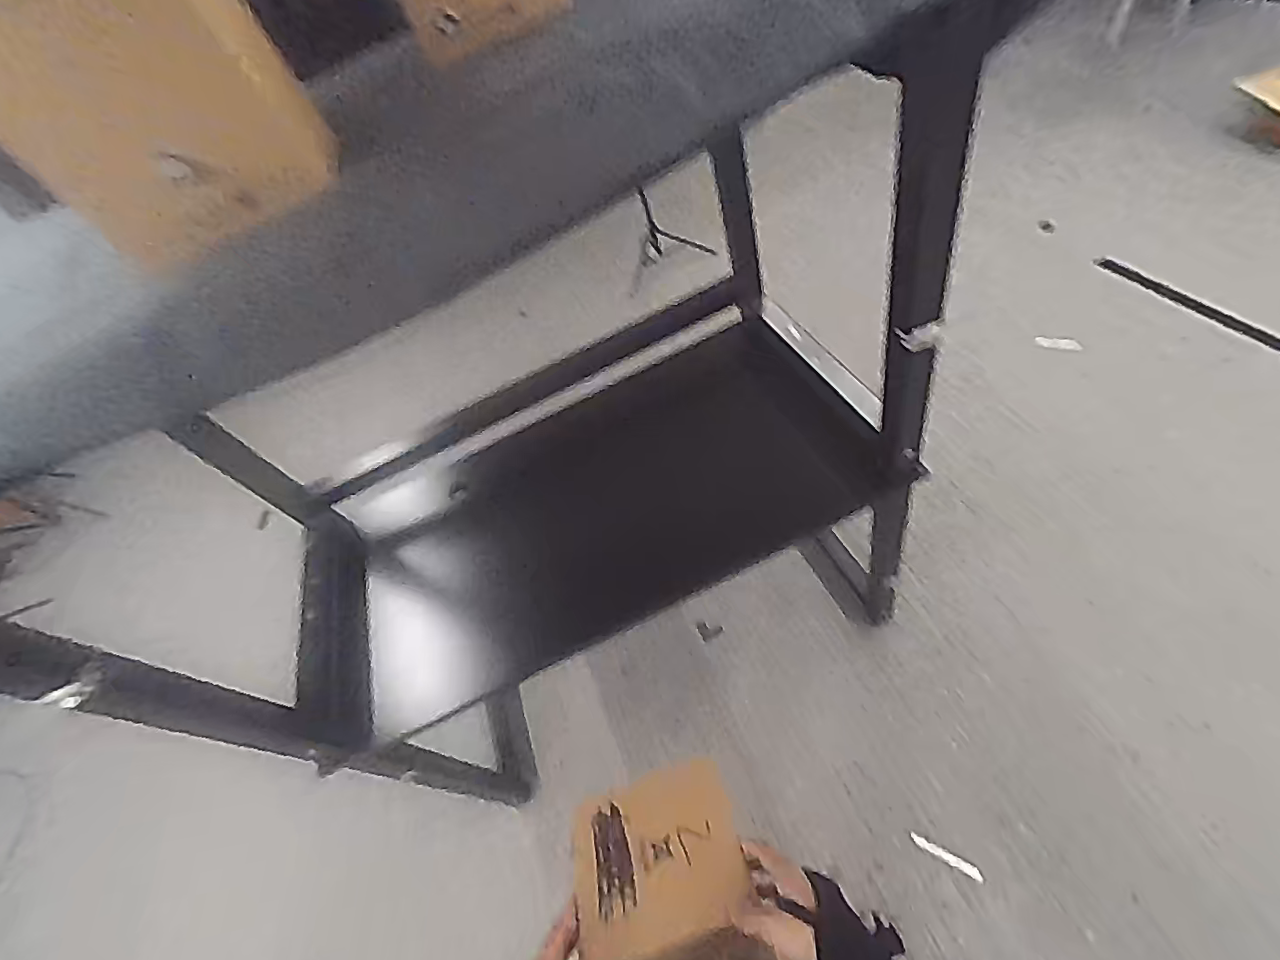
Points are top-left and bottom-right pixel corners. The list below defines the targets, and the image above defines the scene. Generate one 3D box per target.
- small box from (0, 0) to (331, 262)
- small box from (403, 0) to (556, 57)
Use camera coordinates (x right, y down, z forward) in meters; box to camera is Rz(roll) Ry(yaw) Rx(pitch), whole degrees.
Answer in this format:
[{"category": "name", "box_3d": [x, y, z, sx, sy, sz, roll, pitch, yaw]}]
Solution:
[{"category": "small box", "box_3d": [-0.377, -0.308, 0.432, 0.168, 0.176, 0.179, -27, 50, 0]}, {"category": "small box", "box_3d": [-0.197, -0.590, 0.576, 0.168, 0.176, 0.179, -24, 50, 2]}]
